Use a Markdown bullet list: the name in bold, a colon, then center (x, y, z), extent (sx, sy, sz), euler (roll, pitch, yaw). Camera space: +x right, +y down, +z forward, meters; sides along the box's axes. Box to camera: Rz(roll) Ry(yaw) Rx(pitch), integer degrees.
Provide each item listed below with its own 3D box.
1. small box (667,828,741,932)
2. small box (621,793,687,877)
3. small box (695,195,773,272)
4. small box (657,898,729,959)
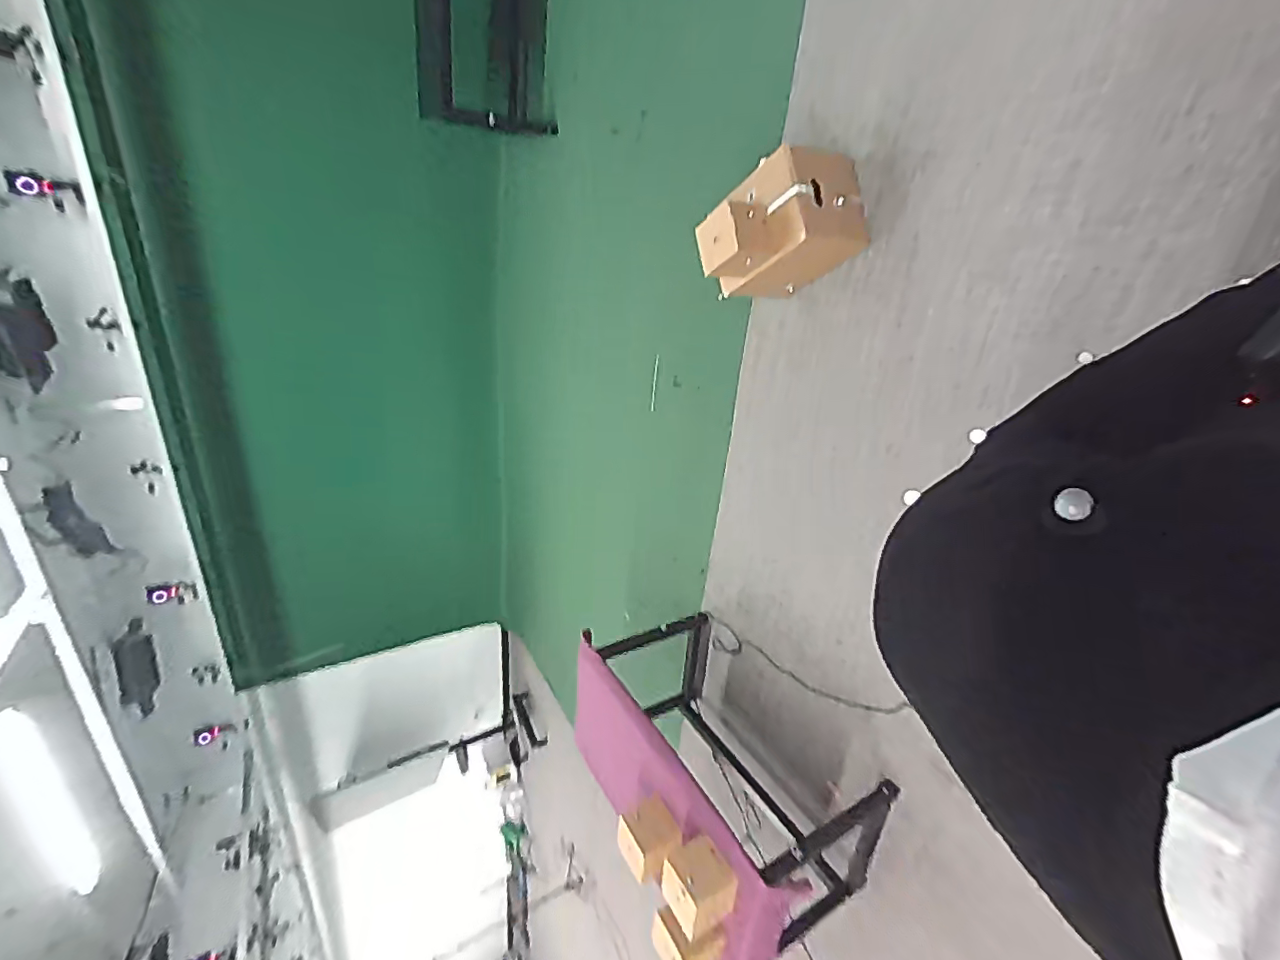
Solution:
- **small box**: center (0.203, 1.268, 1.723), extent (0.168, 0.176, 0.179), euler (34, 128, 50)
- **small box**: center (0.050, 1.291, 1.985), extent (0.179, 0.176, 0.168), euler (37, 129, 49)
- **small box**: center (0.310, -0.789, 1.746), extent (0.179, 0.176, 0.168), euler (-16, 85, 60)
- **small box**: center (0.180, 1.532, 1.842), extent (0.179, 0.176, 0.168), euler (37, 129, 50)
